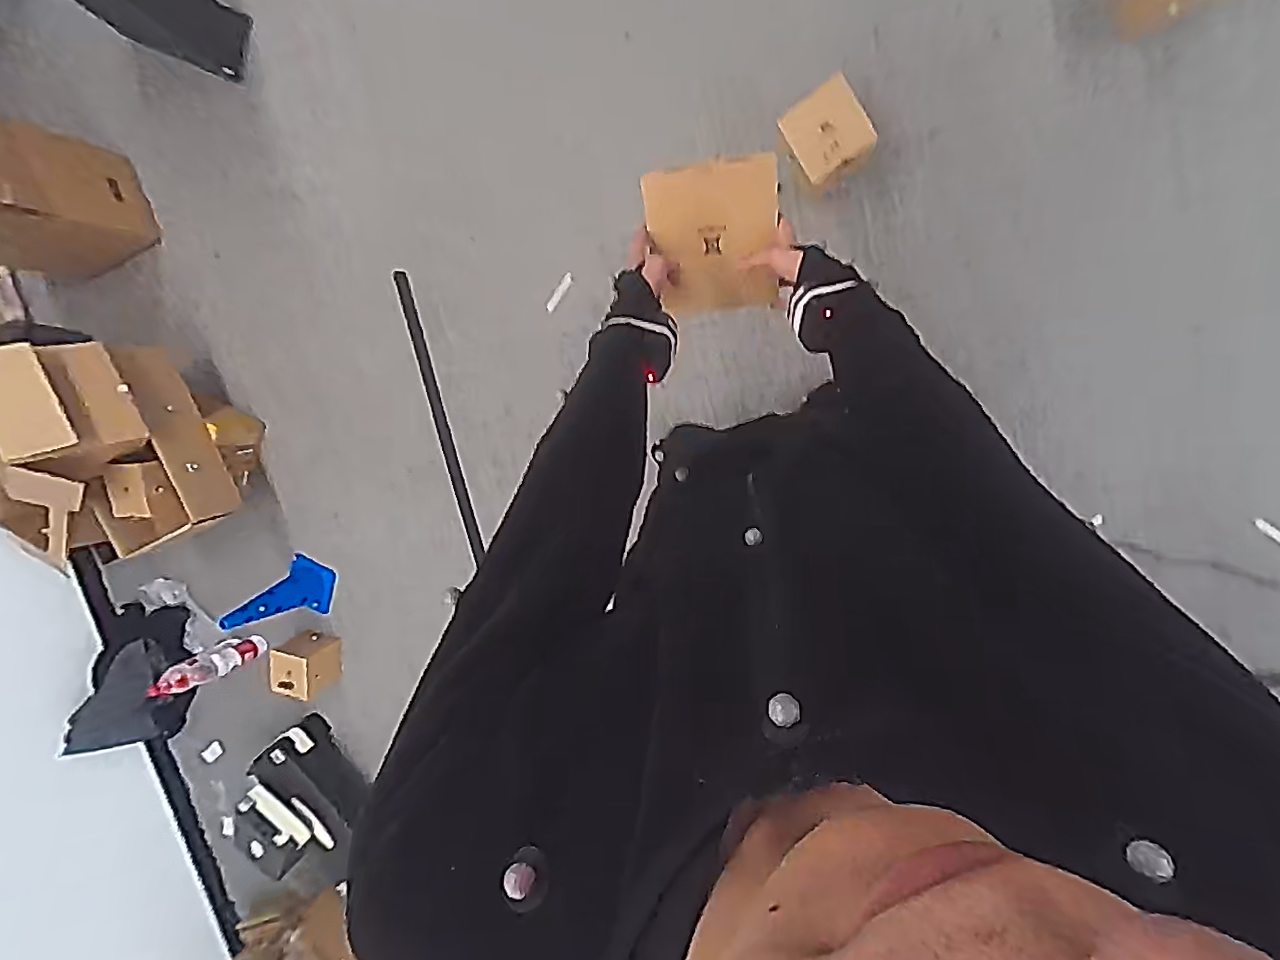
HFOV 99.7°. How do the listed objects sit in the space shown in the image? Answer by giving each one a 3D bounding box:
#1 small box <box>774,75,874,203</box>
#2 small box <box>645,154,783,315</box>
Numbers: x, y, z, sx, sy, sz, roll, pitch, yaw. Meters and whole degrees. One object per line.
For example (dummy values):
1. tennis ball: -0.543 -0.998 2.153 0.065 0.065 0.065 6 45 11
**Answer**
1. small box: 0.441 -0.819 1.321 0.168 0.176 0.179 -31 92 19
2. small box: 0.105 -0.343 0.751 0.168 0.176 0.179 -4 119 9
